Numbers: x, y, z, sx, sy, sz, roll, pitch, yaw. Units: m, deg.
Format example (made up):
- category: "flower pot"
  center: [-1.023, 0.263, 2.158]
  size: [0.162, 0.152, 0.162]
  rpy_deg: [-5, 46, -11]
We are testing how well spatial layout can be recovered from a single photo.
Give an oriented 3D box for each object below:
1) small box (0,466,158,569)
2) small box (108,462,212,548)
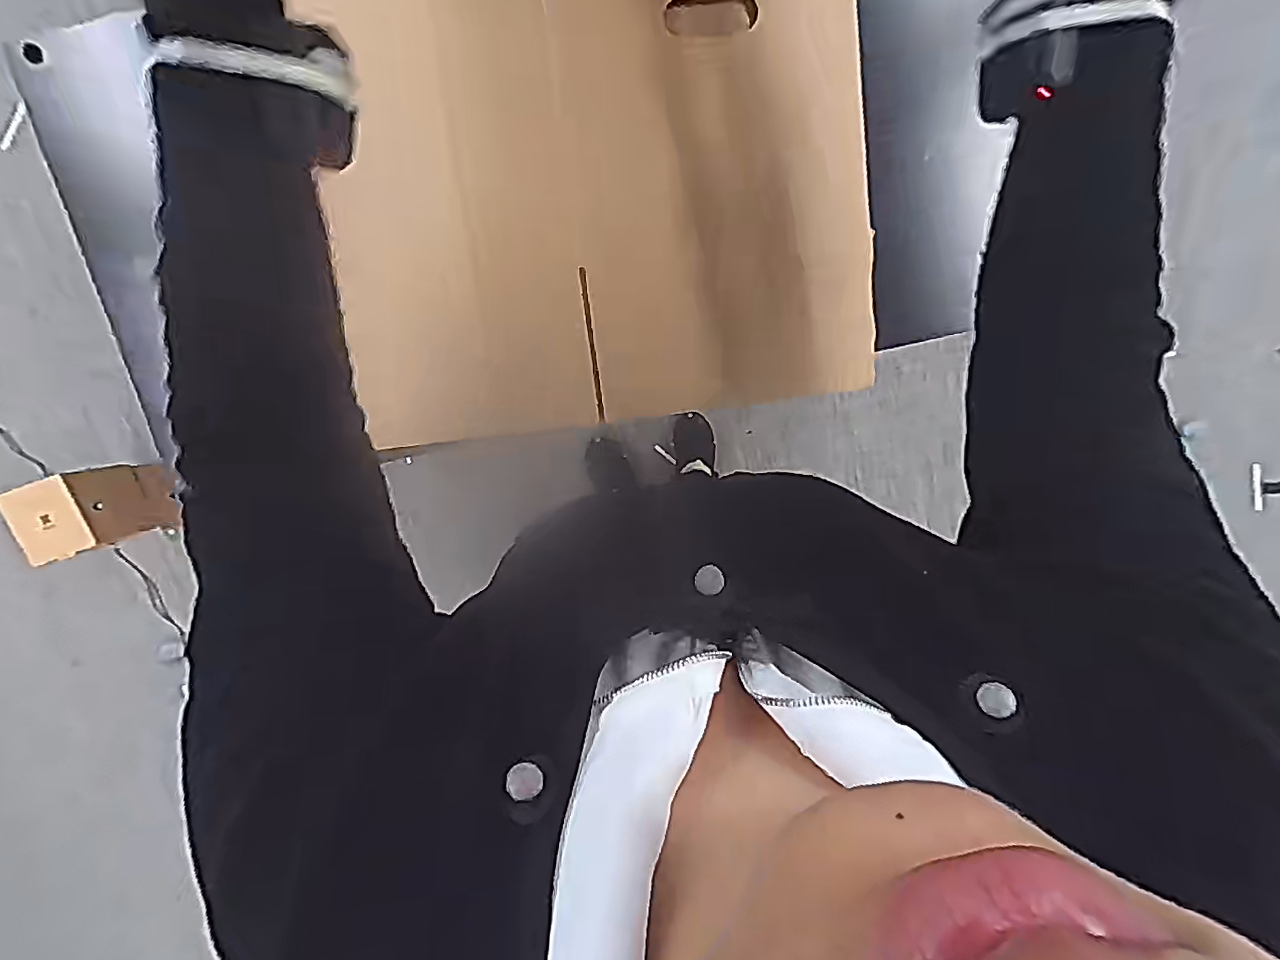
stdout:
- category: "small box"
  center: [-1.307, 0.081, 1.275]
  size: [0.168, 0.176, 0.179]
  rpy_deg: [-20, 98, 3]
- category: "small box"
  center: [-1.303, 0.058, 1.436]
  size: [0.168, 0.176, 0.179]
  rpy_deg: [-16, 100, 4]
